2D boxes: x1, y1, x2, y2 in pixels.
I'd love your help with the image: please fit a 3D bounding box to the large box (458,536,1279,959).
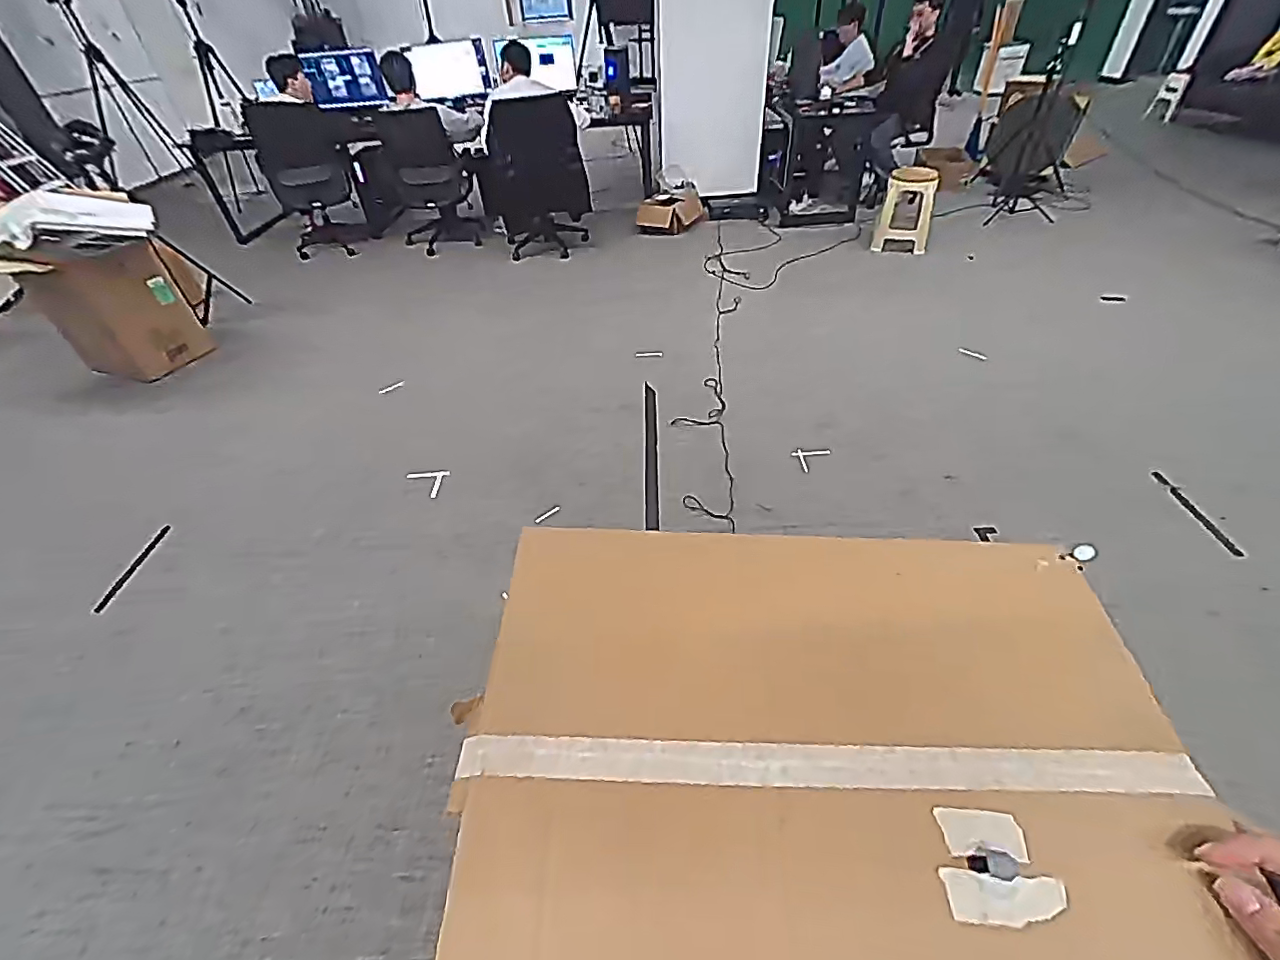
[{"bbox_3d":[0.106,0.262,0.424,0.408,0.320,0.320,3,50,-1],"label":"large box"}]
